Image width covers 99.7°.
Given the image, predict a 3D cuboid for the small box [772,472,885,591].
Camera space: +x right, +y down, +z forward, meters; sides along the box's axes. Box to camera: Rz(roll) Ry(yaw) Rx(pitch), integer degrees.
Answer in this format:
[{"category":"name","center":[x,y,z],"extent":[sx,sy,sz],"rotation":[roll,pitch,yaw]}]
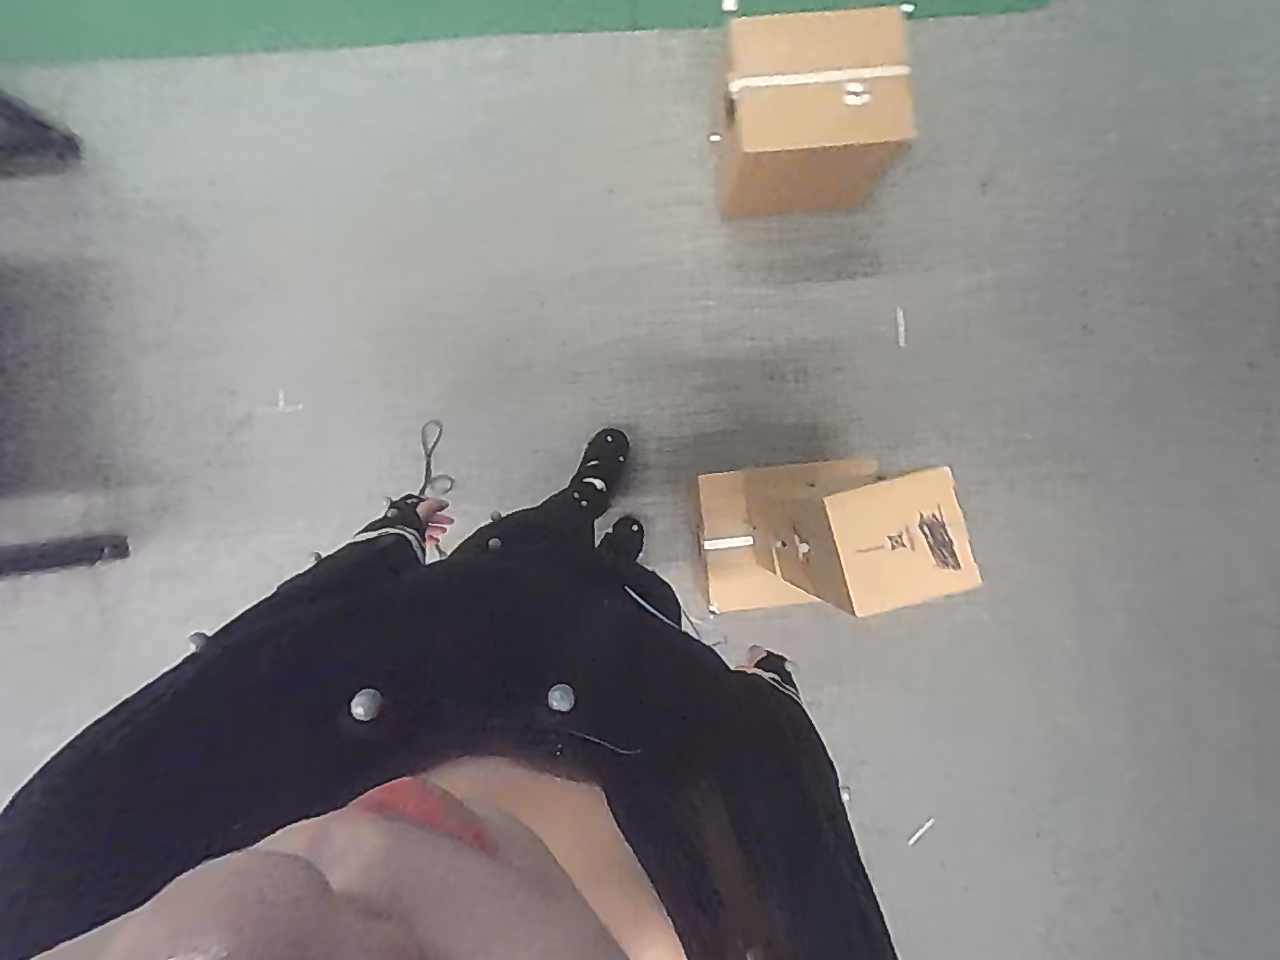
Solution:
[{"category":"small box","center":[0.343,0.088,0.954],"extent":[0.179,0.176,0.168],"rotation":[-13,88,0]}]

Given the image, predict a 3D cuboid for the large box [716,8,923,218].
[{"category":"large box","center":[0.426,-0.902,1.370],"extent":[0.408,0.320,0.320],"rotation":[-5,89,-2]}]

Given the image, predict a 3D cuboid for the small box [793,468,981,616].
[{"category":"small box","center":[0.346,0.082,0.789],"extent":[0.179,0.176,0.168],"rotation":[-14,88,0]}]
